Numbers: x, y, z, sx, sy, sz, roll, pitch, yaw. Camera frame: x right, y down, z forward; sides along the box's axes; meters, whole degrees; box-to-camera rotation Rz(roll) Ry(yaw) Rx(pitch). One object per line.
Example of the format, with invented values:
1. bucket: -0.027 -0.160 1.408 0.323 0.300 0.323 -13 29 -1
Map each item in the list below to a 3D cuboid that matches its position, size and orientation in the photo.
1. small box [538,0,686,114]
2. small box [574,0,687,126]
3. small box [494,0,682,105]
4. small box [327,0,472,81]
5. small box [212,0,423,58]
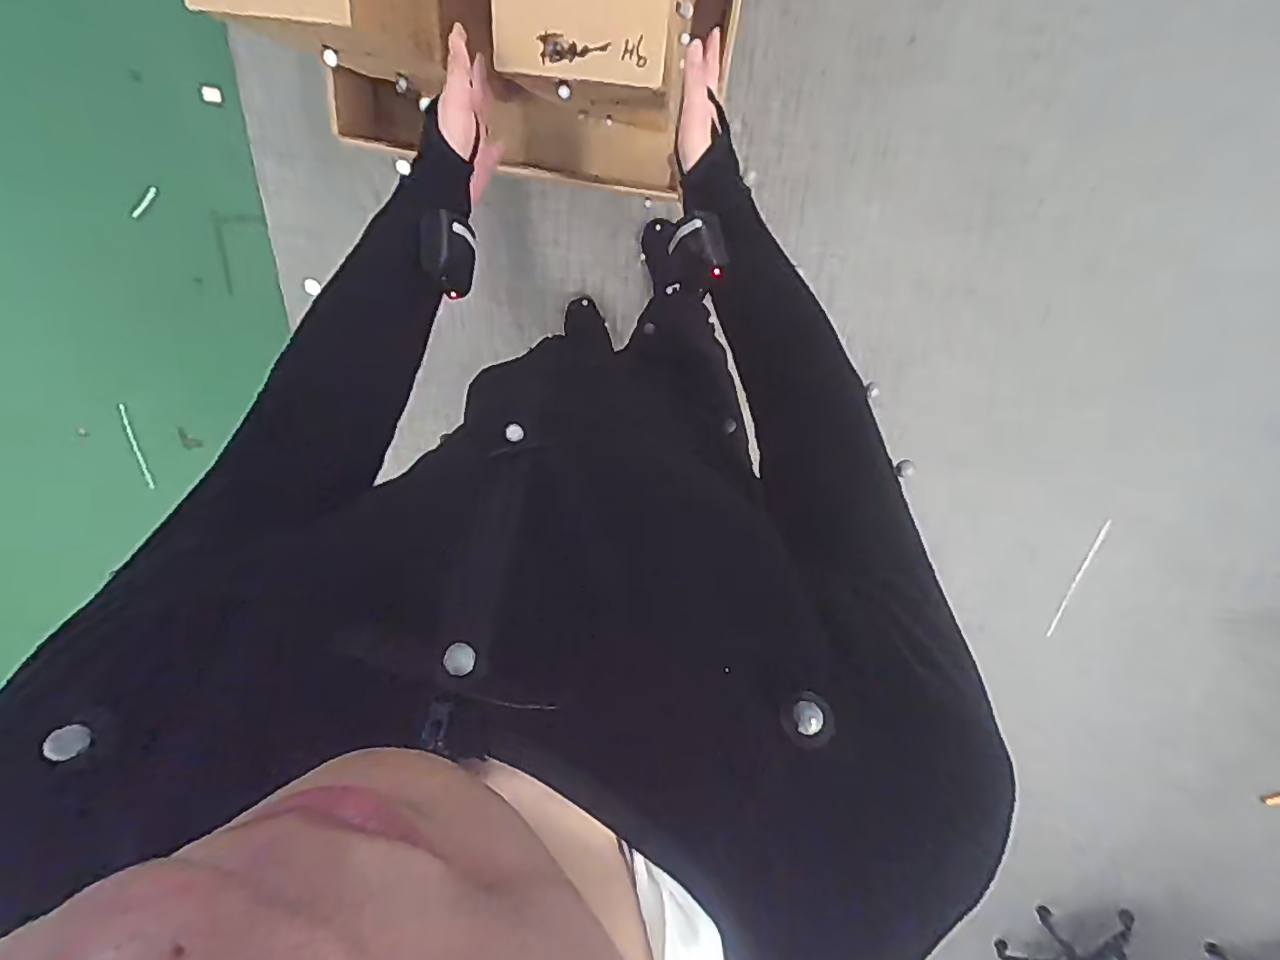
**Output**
1. small box: -0.030 -0.581 0.683 0.168 0.176 0.179 7 118 1
2. small box: -0.024 -0.664 0.825 0.168 0.176 0.179 11 119 -1
3. small box: -0.043 -0.500 0.542 0.168 0.176 0.179 7 119 1
4. small box: -0.321 -0.632 0.679 0.168 0.176 0.179 8 118 2
5. small box: -0.333 -0.555 0.536 0.168 0.176 0.179 9 118 1
